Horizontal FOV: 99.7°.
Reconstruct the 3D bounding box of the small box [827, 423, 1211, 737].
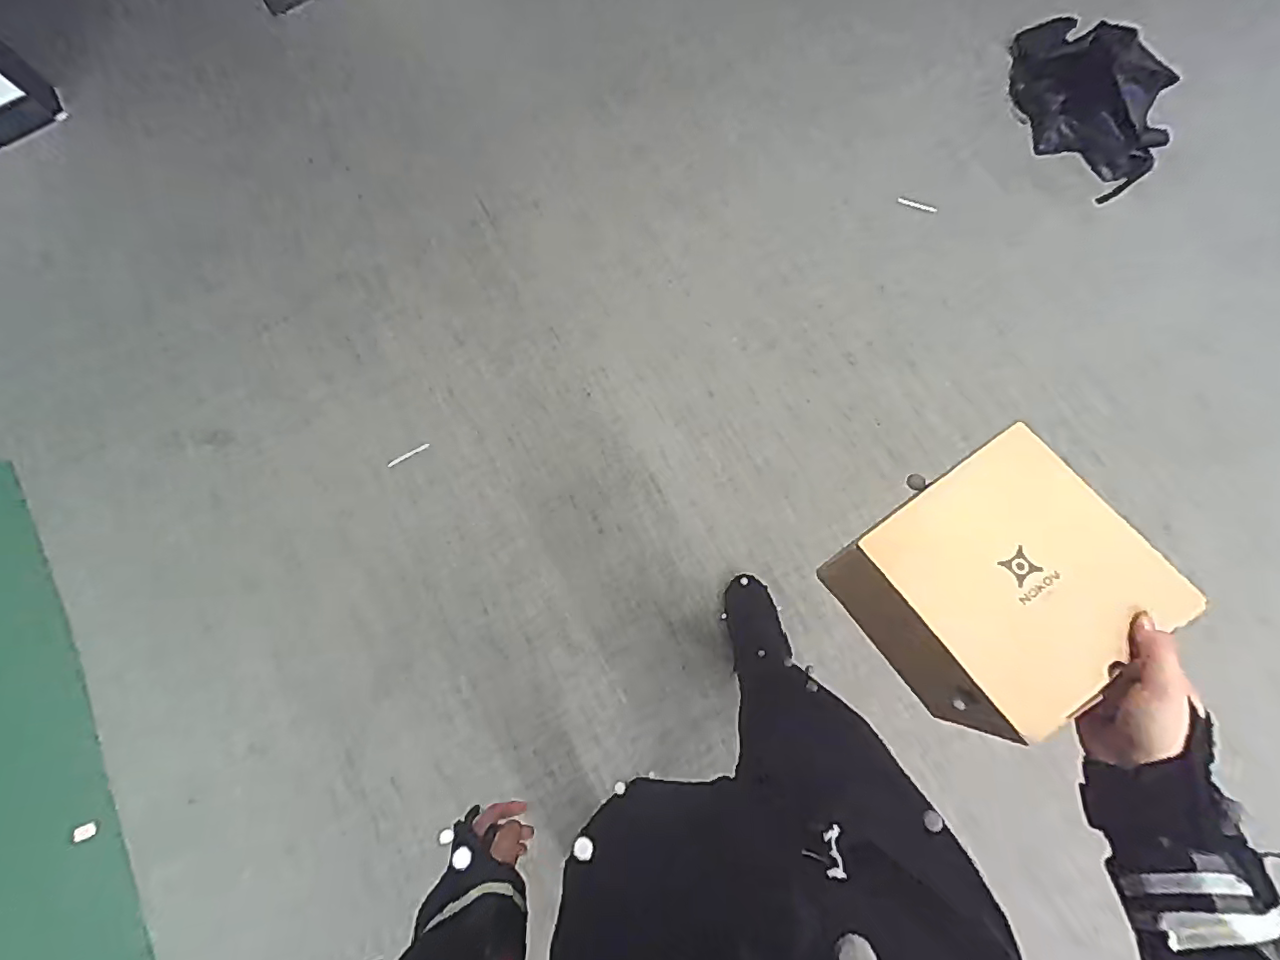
[{"bbox_3d":[0.292,0.087,0.470,0.168,0.176,0.179,-35,73,-5],"label":"small box"}]
